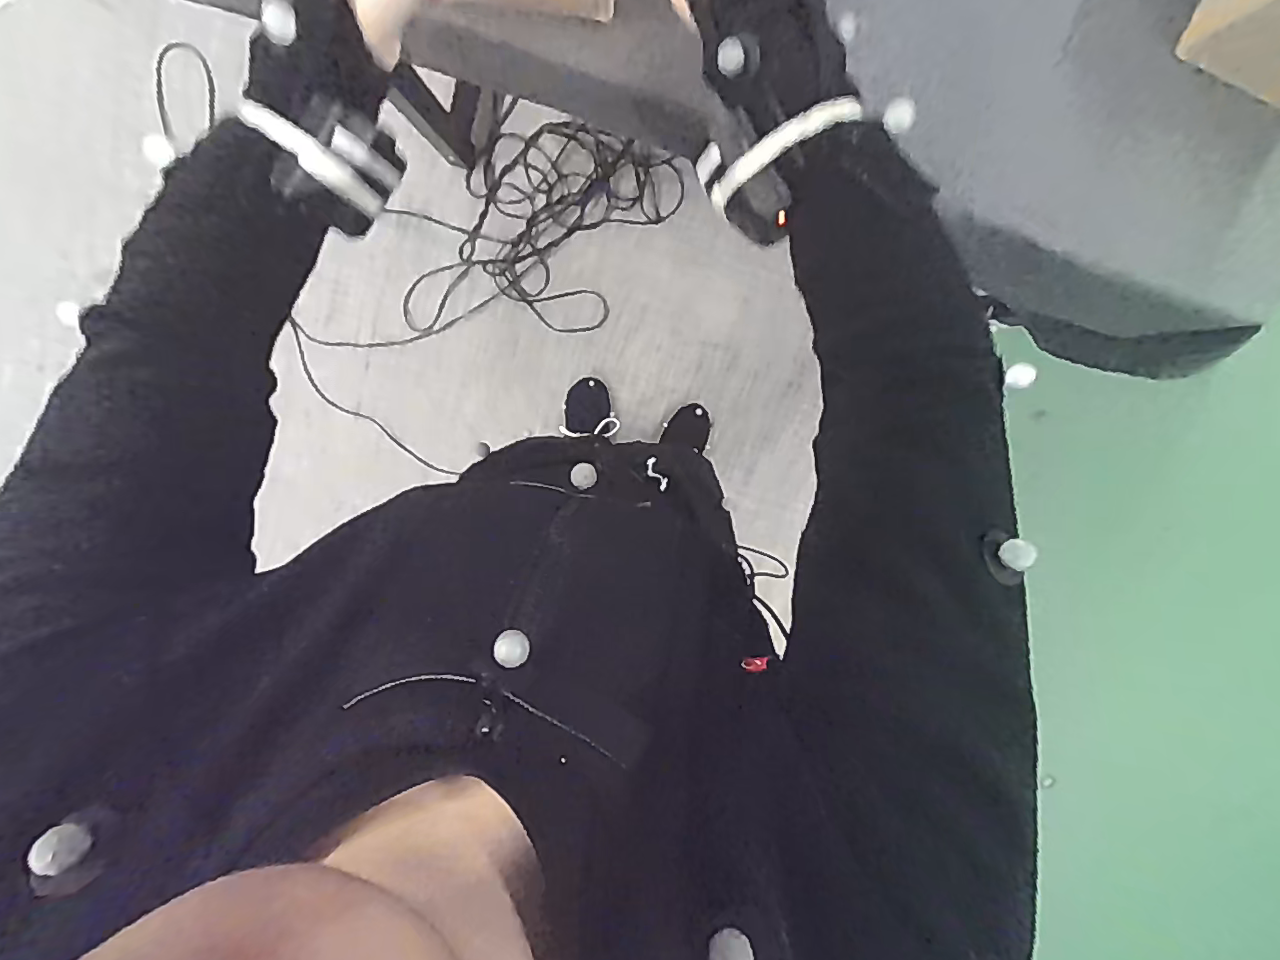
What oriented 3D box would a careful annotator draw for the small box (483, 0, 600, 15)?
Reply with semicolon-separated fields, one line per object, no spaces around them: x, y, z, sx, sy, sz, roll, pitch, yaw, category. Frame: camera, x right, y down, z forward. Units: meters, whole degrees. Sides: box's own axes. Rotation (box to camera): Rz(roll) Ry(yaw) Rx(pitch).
-0.101;-0.518;0.429;0.179;0.176;0.168;6;102;-2;small box
